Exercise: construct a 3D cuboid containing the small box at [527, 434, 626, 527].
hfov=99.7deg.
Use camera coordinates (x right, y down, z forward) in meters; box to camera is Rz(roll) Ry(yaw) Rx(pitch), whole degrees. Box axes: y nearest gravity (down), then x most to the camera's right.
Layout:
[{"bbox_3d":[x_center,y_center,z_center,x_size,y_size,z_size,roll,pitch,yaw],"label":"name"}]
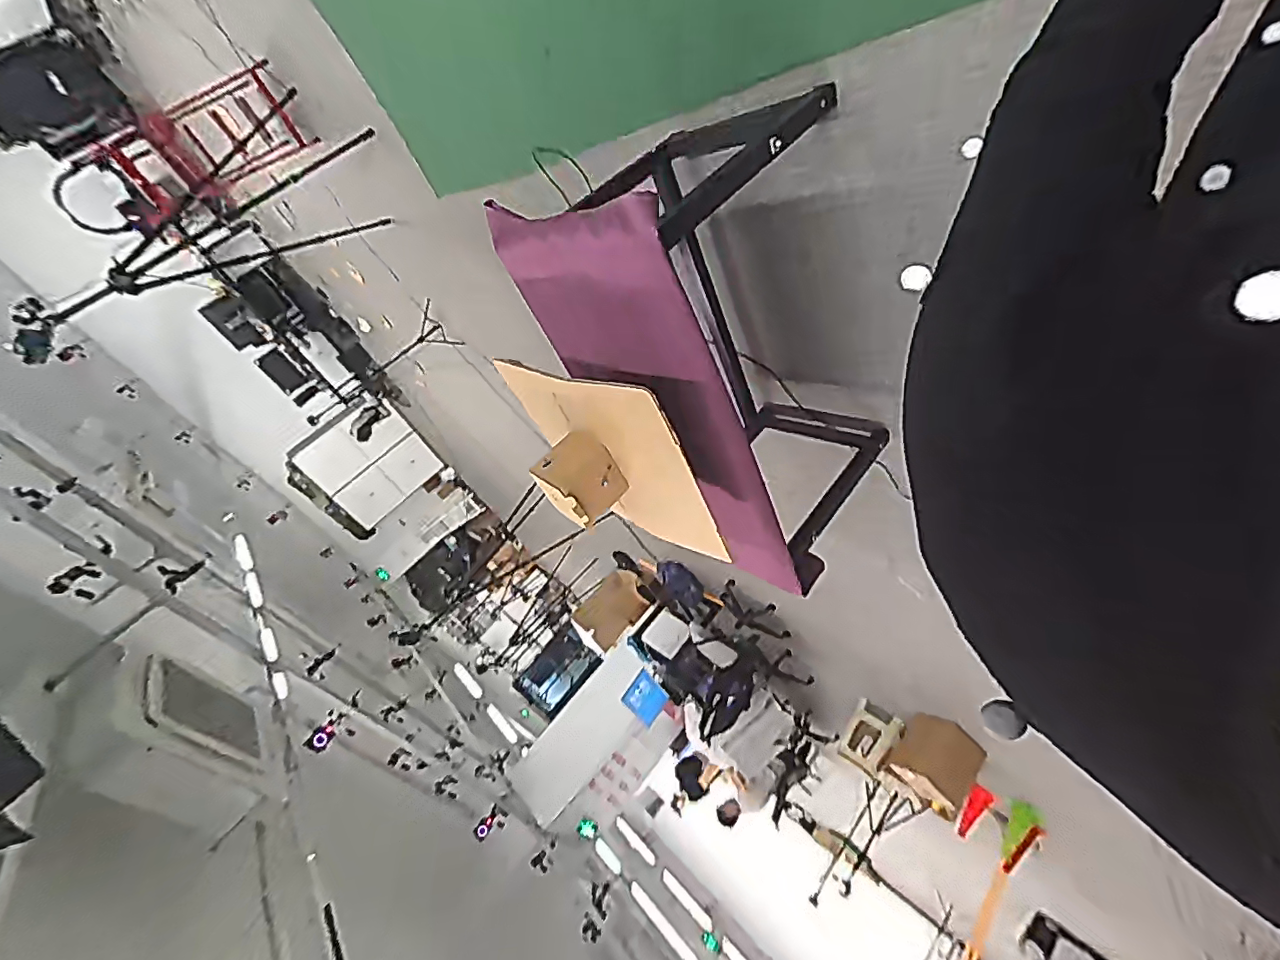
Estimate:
[{"bbox_3d":[-0.172,-0.005,1.498,0.179,0.176,0.168,24,153,45],"label":"small box"}]
